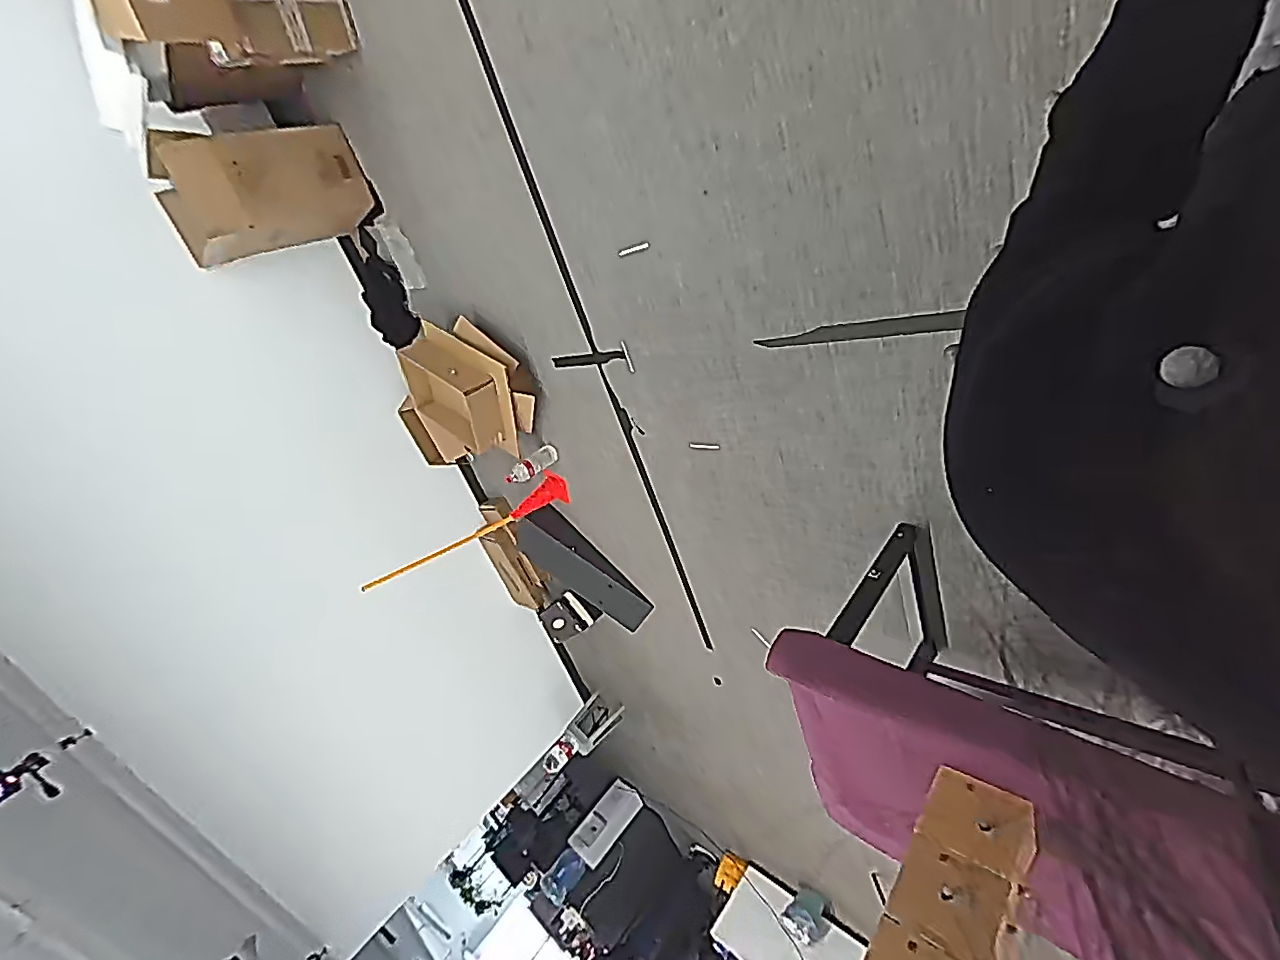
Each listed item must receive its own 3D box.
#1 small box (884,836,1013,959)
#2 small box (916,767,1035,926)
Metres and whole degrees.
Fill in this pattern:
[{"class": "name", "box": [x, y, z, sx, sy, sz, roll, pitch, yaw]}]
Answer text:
[{"class": "small box", "box": [0.576, 0.816, 1.004, 0.168, 0.176, 0.179, 8, 127, 45]}, {"class": "small box", "box": [0.680, 0.727, 1.093, 0.168, 0.176, 0.179, 7, 127, 46]}]
